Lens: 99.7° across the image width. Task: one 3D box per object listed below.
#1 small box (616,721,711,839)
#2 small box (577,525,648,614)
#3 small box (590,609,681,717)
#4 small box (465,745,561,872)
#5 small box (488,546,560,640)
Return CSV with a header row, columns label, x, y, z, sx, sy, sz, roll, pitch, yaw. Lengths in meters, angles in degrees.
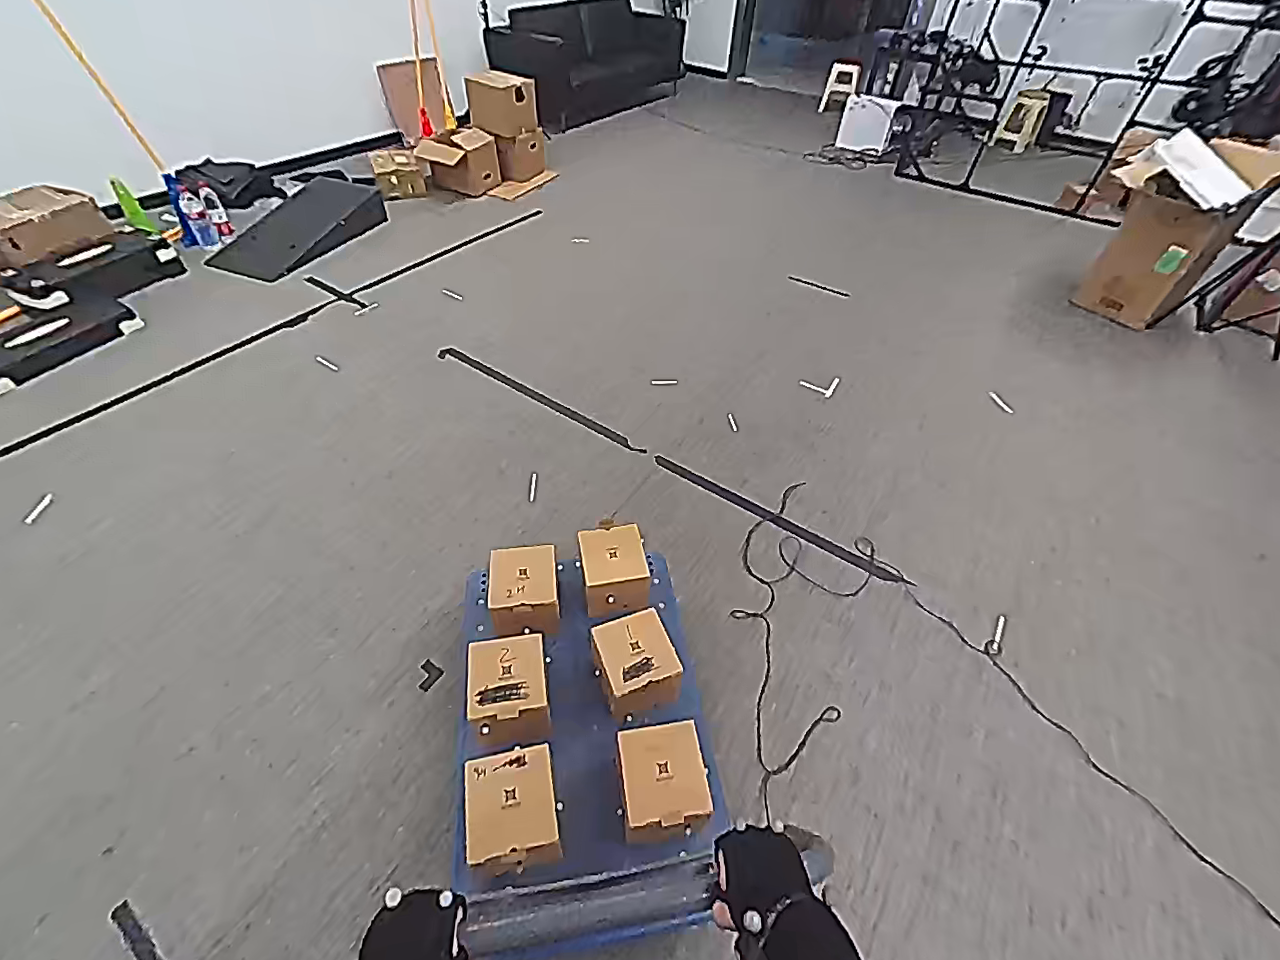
label,x,y,z,sx,sy,sz,roll,pitch,yaw
small box,0.041,0.632,1.132,0.168,0.176,0.179,-4,46,-9
small box,-0.077,0.251,1.481,0.168,0.176,0.179,-7,48,-11
small box,-0.015,0.446,1.301,0.168,0.176,0.179,-14,48,-17
small box,-0.251,0.661,1.081,0.168,0.176,0.179,-7,48,-12
small box,-0.299,0.296,1.419,0.168,0.176,0.179,-4,48,-8
